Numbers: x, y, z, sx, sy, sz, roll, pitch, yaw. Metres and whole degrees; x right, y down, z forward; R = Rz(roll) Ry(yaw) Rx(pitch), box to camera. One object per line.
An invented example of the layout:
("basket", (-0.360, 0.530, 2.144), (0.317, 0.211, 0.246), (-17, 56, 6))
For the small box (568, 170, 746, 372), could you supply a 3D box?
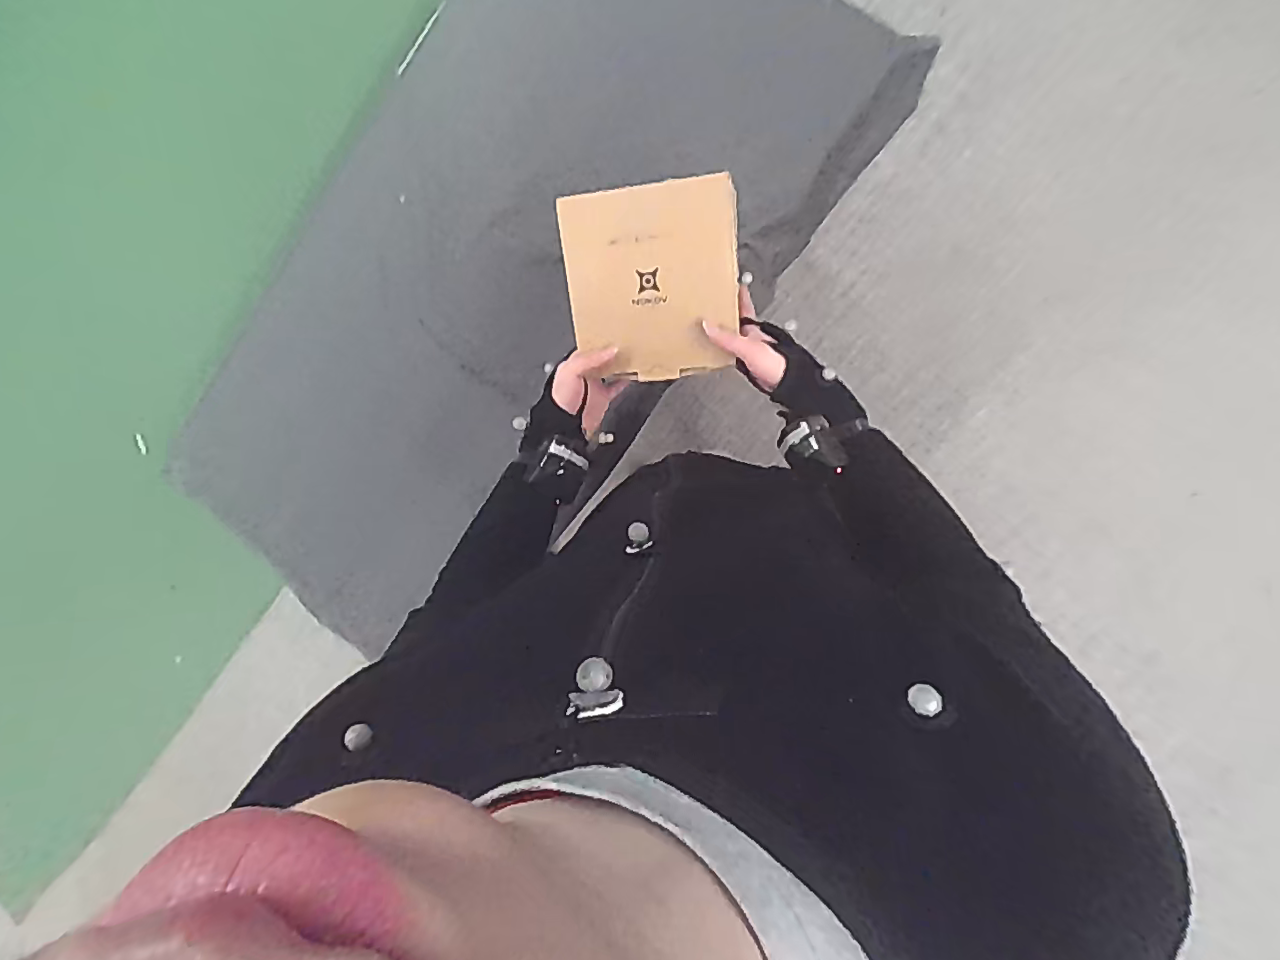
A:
("small box", (0.033, -0.226, 0.600), (0.168, 0.176, 0.179), (-2, 112, 11))
